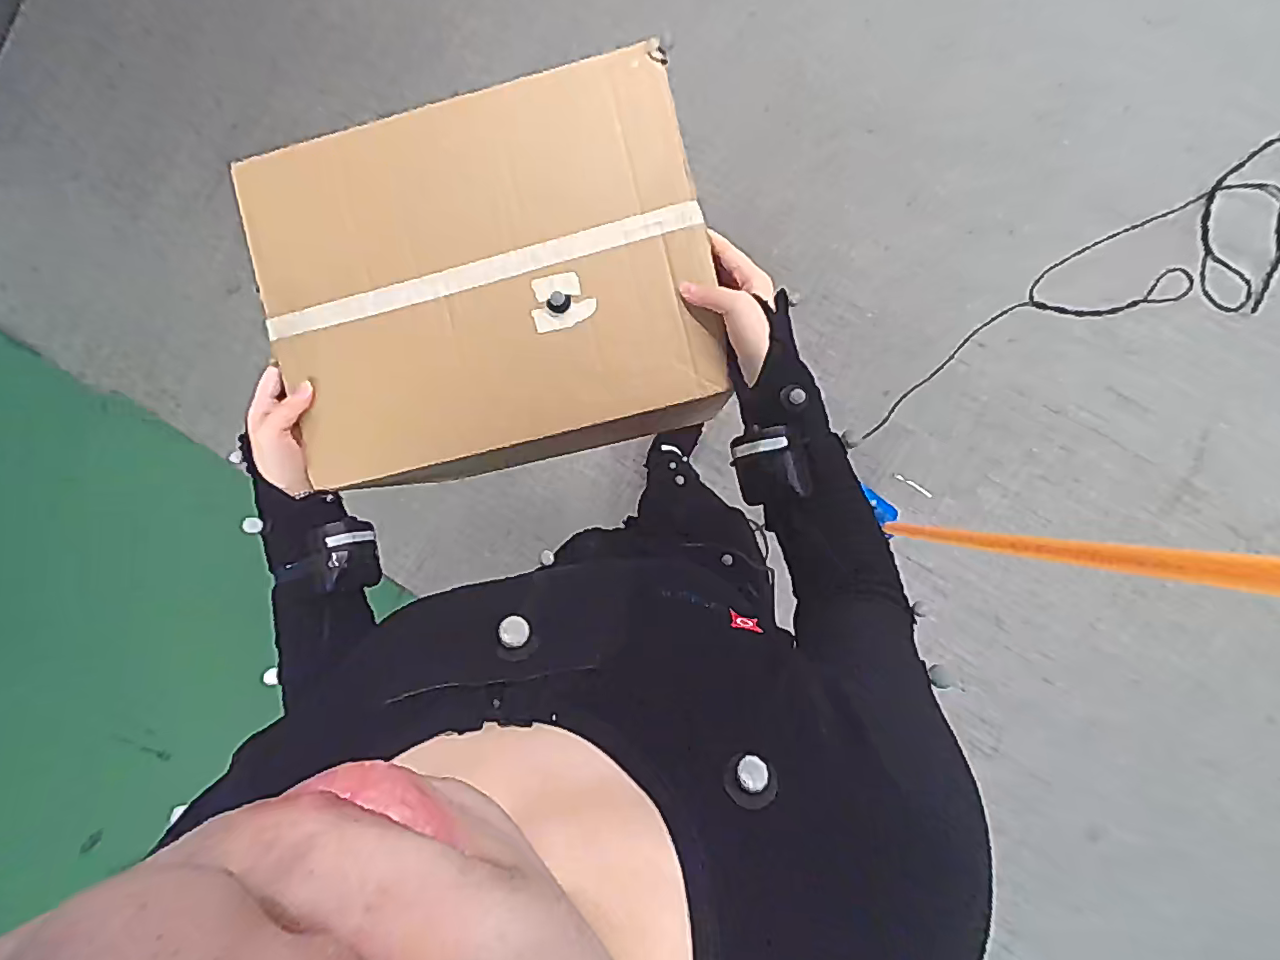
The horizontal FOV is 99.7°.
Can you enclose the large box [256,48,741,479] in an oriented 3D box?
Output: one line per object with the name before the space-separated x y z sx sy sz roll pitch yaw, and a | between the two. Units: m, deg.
large box | -0.129 -0.197 0.644 0.408 0.320 0.320 -13 91 3
